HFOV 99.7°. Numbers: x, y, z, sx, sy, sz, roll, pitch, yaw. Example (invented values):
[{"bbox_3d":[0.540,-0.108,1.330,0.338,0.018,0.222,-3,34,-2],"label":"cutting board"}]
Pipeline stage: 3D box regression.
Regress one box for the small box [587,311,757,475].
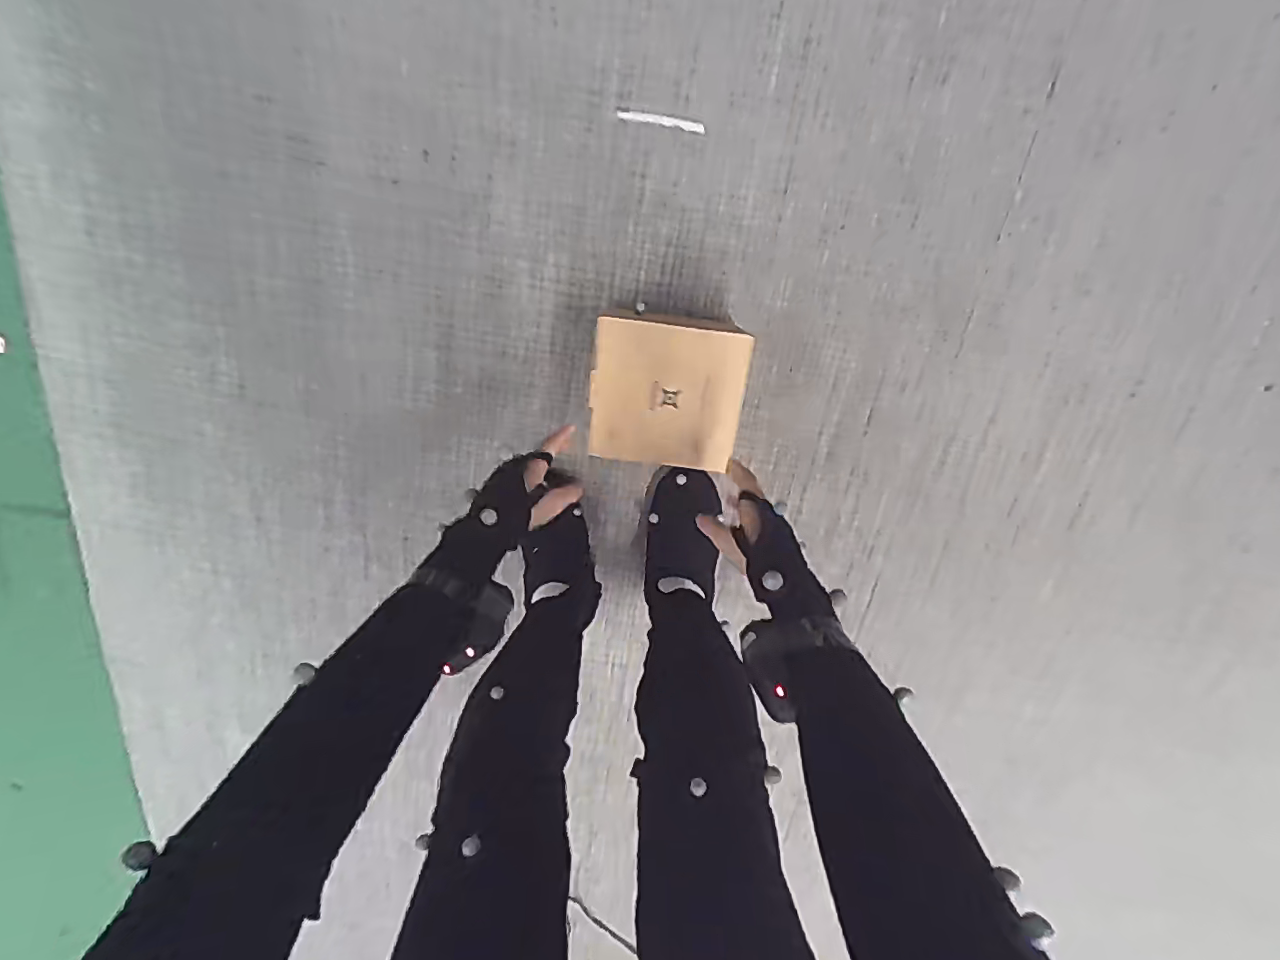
[{"bbox_3d":[0.033,-0.120,0.696,0.179,0.176,0.168,7,111,-3],"label":"small box"}]
